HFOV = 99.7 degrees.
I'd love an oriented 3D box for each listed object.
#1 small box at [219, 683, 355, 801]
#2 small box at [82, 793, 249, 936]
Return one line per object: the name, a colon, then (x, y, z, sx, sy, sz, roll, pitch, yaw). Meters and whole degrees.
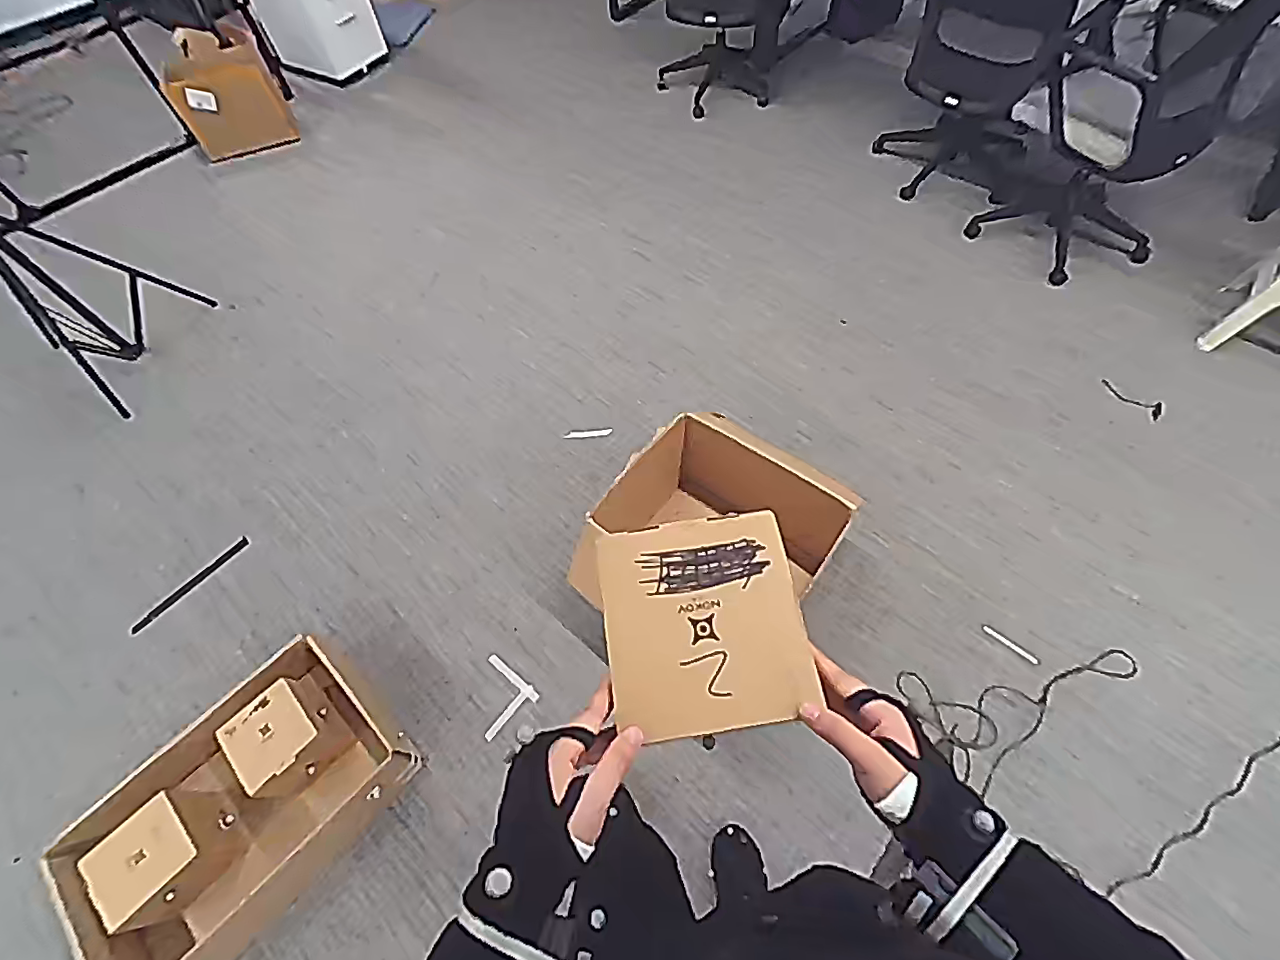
small box: (-0.802, 0.601, 1.245, 0.179, 0.176, 0.168, 40, 70, 22)
small box: (-0.987, 0.797, 1.139, 0.168, 0.176, 0.179, 38, 66, 20)
